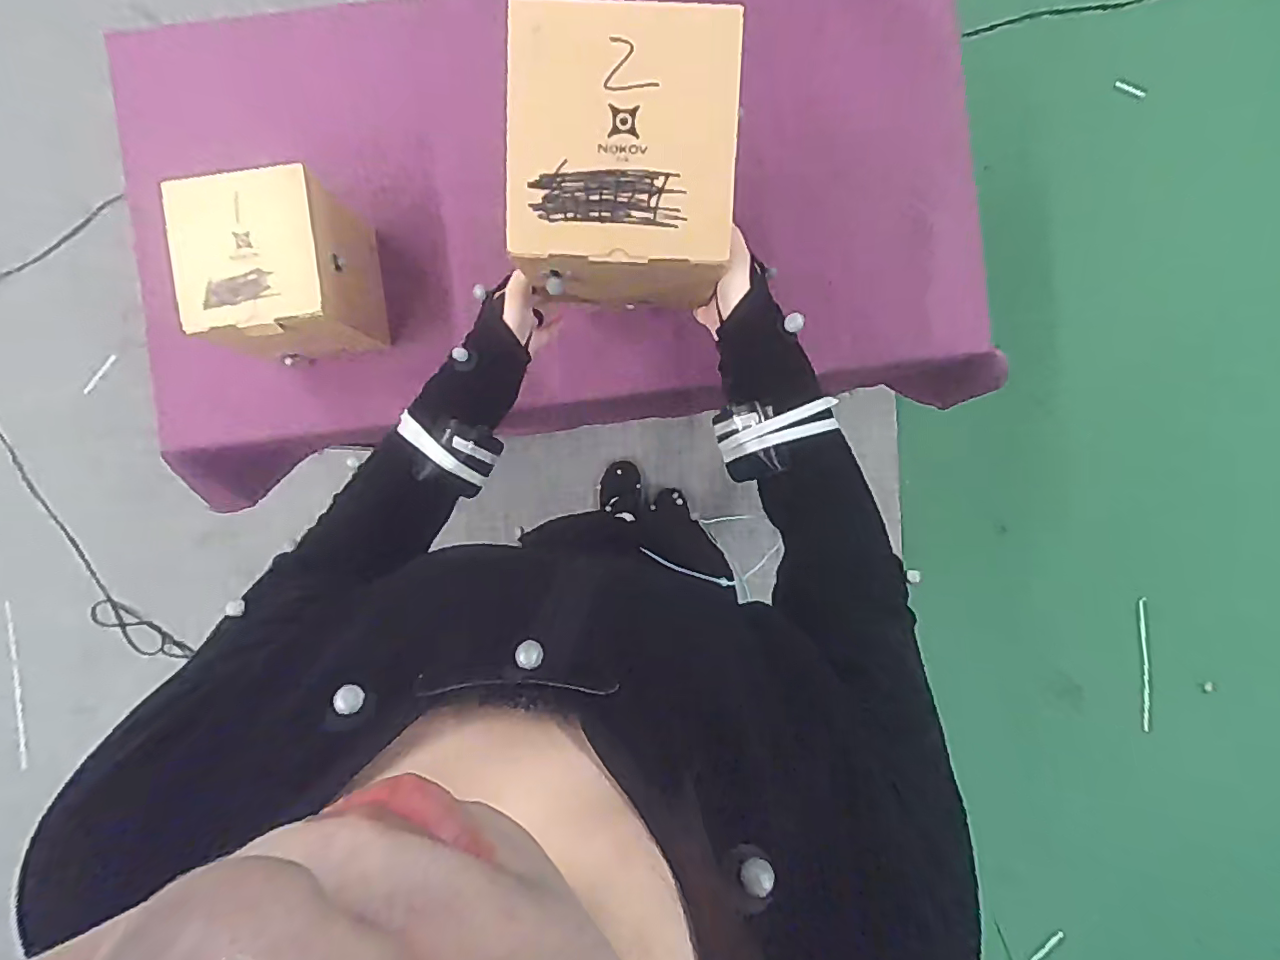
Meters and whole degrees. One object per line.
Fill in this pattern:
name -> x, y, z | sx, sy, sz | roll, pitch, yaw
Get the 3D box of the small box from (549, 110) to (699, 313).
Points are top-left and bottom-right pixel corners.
small box -> -0.018, -0.328, 0.692 | 0.168, 0.176, 0.179 | -4, 91, 1

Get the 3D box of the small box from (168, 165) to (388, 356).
small box -> -0.448, -0.265, 0.698 | 0.168, 0.176, 0.179 | -8, 90, 0
